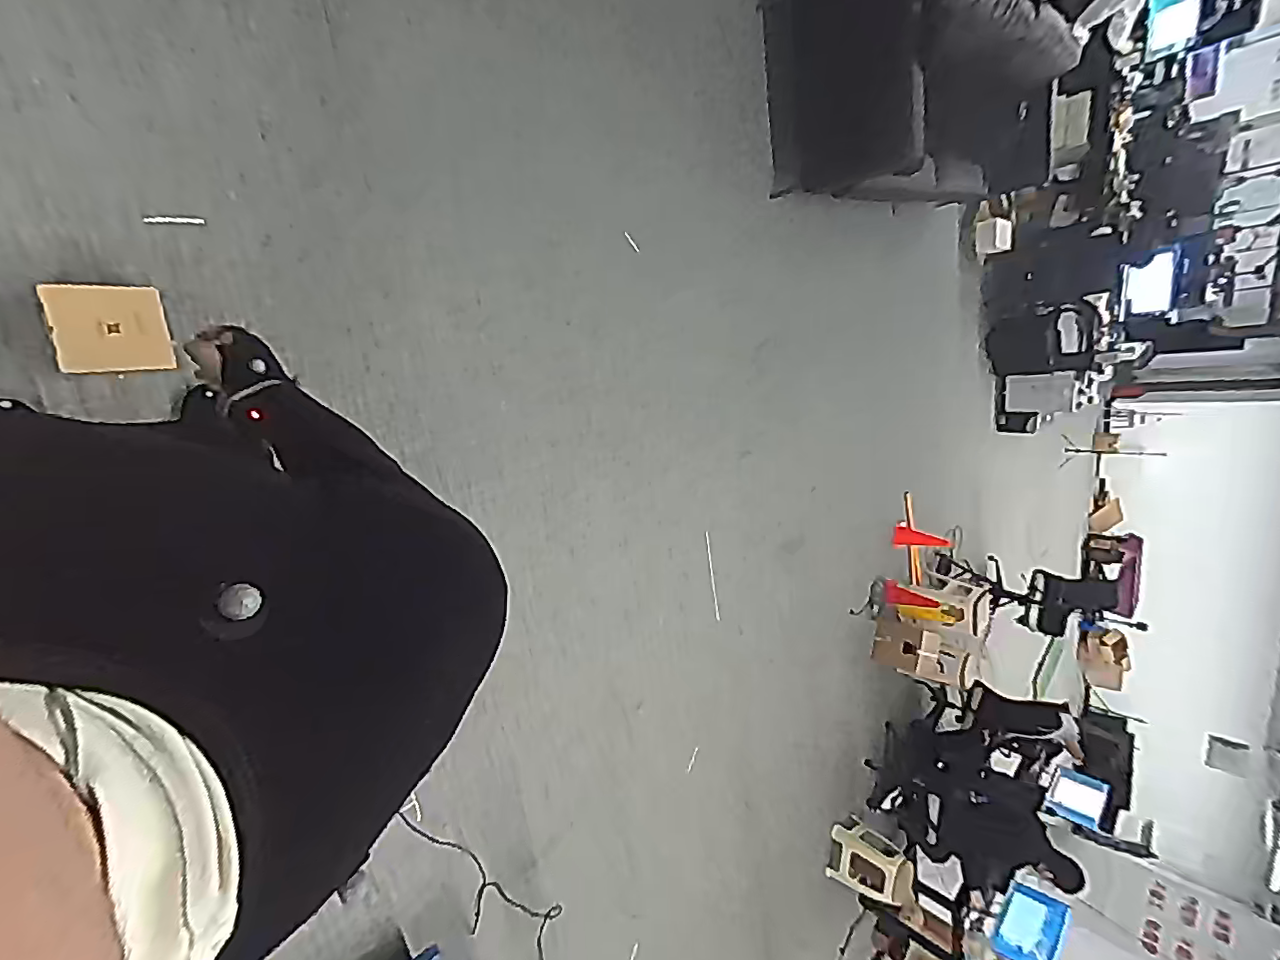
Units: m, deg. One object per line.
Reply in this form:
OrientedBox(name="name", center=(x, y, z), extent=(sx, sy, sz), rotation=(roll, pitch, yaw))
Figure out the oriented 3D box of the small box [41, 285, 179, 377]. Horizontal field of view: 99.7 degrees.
OrientedBox(name="small box", center=(-1.098, -0.307, 1.134), extent=(0.179, 0.176, 0.168), rotation=(-14, 105, -41))
